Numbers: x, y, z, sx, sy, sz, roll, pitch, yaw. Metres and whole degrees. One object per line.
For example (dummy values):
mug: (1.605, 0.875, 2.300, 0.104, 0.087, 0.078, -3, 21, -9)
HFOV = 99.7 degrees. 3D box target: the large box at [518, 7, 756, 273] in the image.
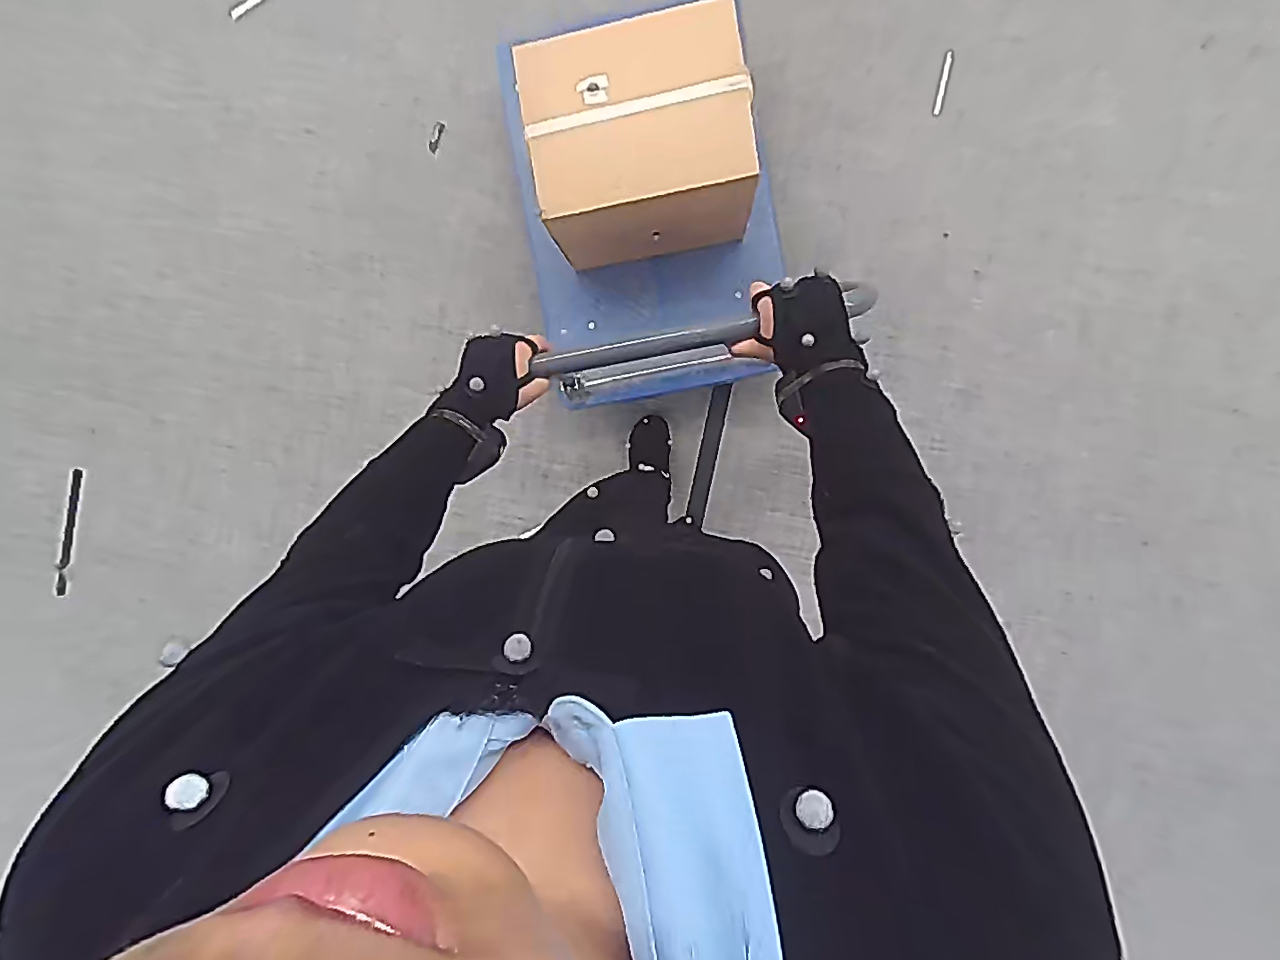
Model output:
large box: (0.008, -0.671, 1.137, 0.408, 0.320, 0.320, -9, 92, 7)
